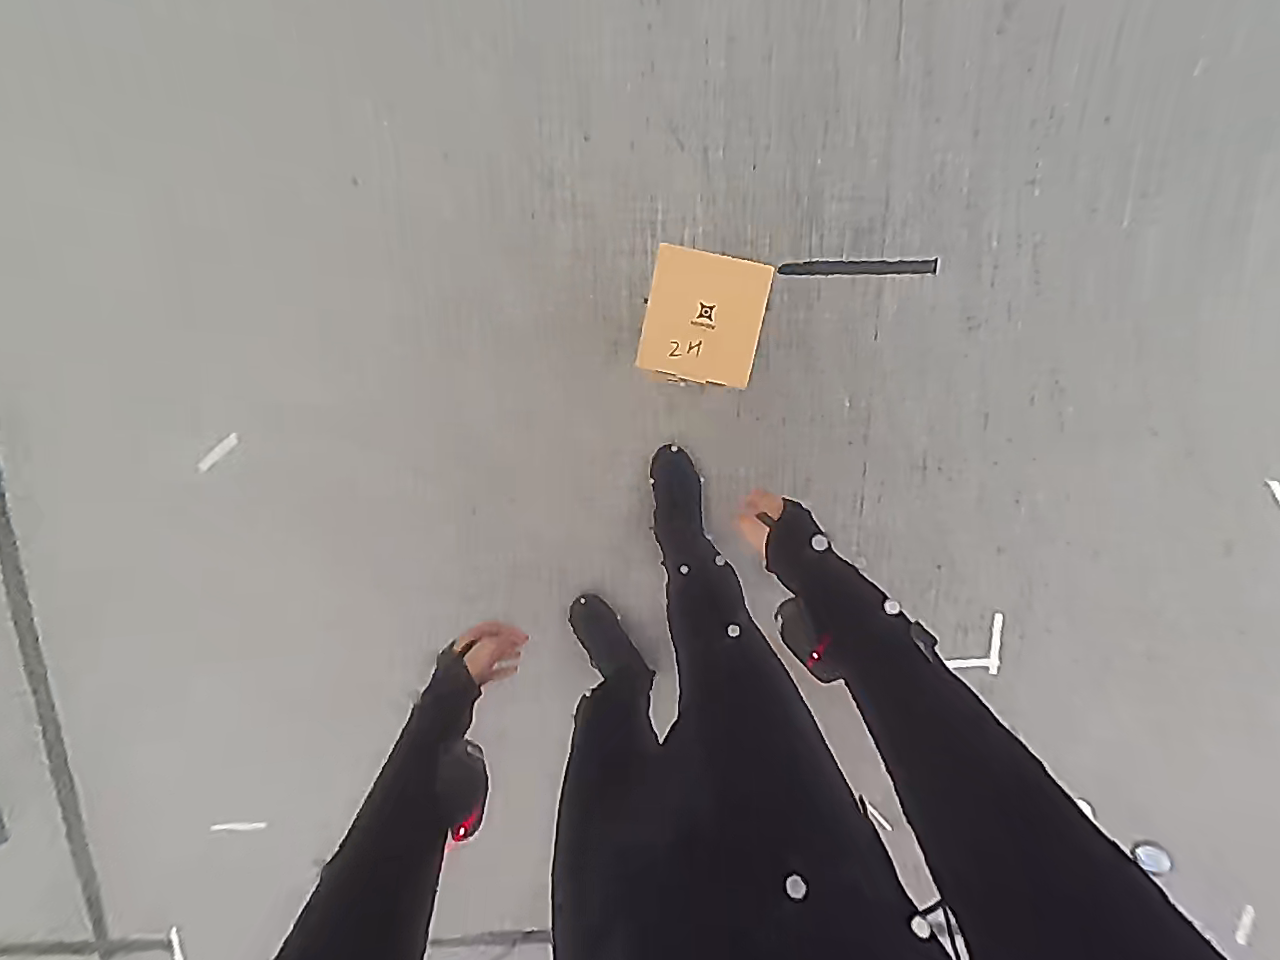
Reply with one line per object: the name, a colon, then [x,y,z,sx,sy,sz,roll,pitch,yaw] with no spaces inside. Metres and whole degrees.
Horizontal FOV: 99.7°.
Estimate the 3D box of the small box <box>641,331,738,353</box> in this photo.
small box: [0.090,-0.326,0.965,0.168,0.176,0.179,6,102,-2]
